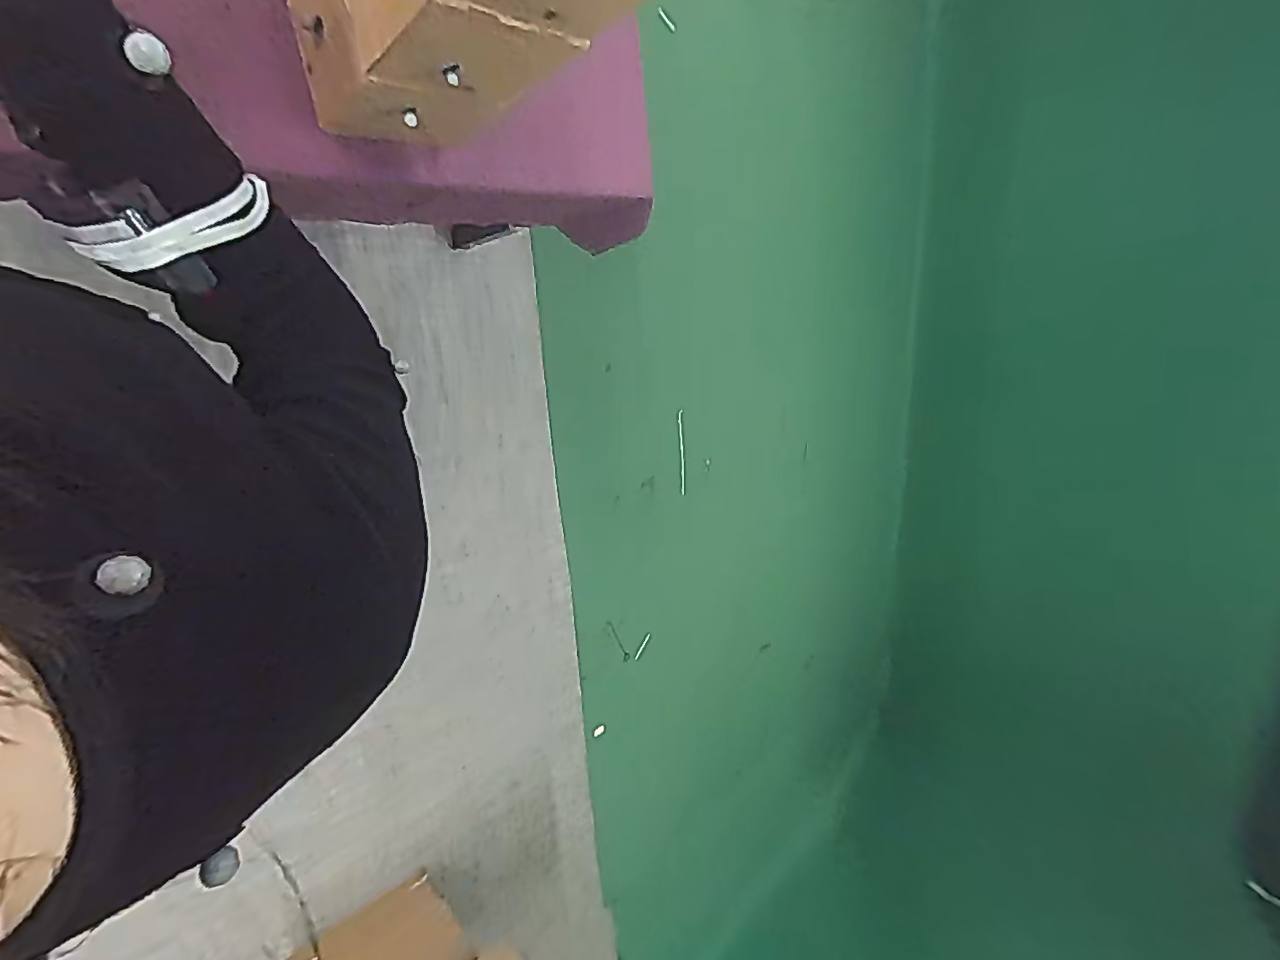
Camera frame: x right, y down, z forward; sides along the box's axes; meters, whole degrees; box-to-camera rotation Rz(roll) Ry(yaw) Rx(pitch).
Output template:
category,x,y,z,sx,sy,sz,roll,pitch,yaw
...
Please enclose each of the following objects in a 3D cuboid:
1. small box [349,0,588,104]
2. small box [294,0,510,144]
category,x,y,z,sx,sy,sz,roll,pitch,yaw
small box,-0.174,-0.500,0.516,0.168,0.176,0.179,-21,113,-40
small box,-0.284,-0.516,0.636,0.179,0.176,0.168,-23,113,-39
